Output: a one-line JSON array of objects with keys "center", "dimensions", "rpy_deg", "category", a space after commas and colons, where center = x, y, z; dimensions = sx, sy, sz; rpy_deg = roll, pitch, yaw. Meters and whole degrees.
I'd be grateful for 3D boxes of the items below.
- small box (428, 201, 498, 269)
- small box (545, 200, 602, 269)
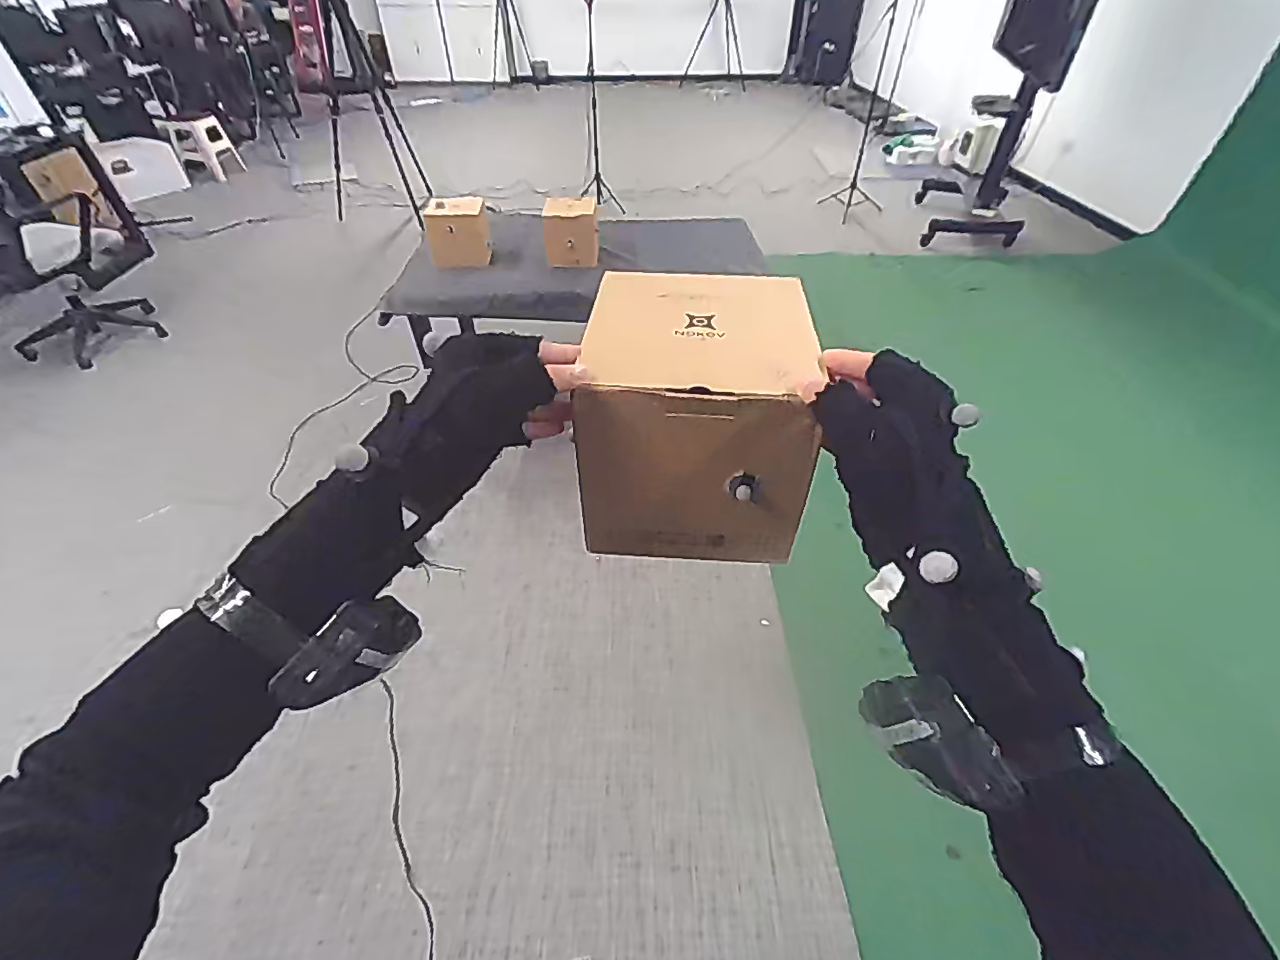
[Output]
[{"center": [-0.586, -0.817, 1.807], "dimensions": [0.179, 0.176, 0.168], "rpy_deg": [-3, 44, -4], "category": "small box"}, {"center": [-0.216, -0.819, 1.811], "dimensions": [0.168, 0.176, 0.179], "rpy_deg": [0, 44, 0], "category": "small box"}]
